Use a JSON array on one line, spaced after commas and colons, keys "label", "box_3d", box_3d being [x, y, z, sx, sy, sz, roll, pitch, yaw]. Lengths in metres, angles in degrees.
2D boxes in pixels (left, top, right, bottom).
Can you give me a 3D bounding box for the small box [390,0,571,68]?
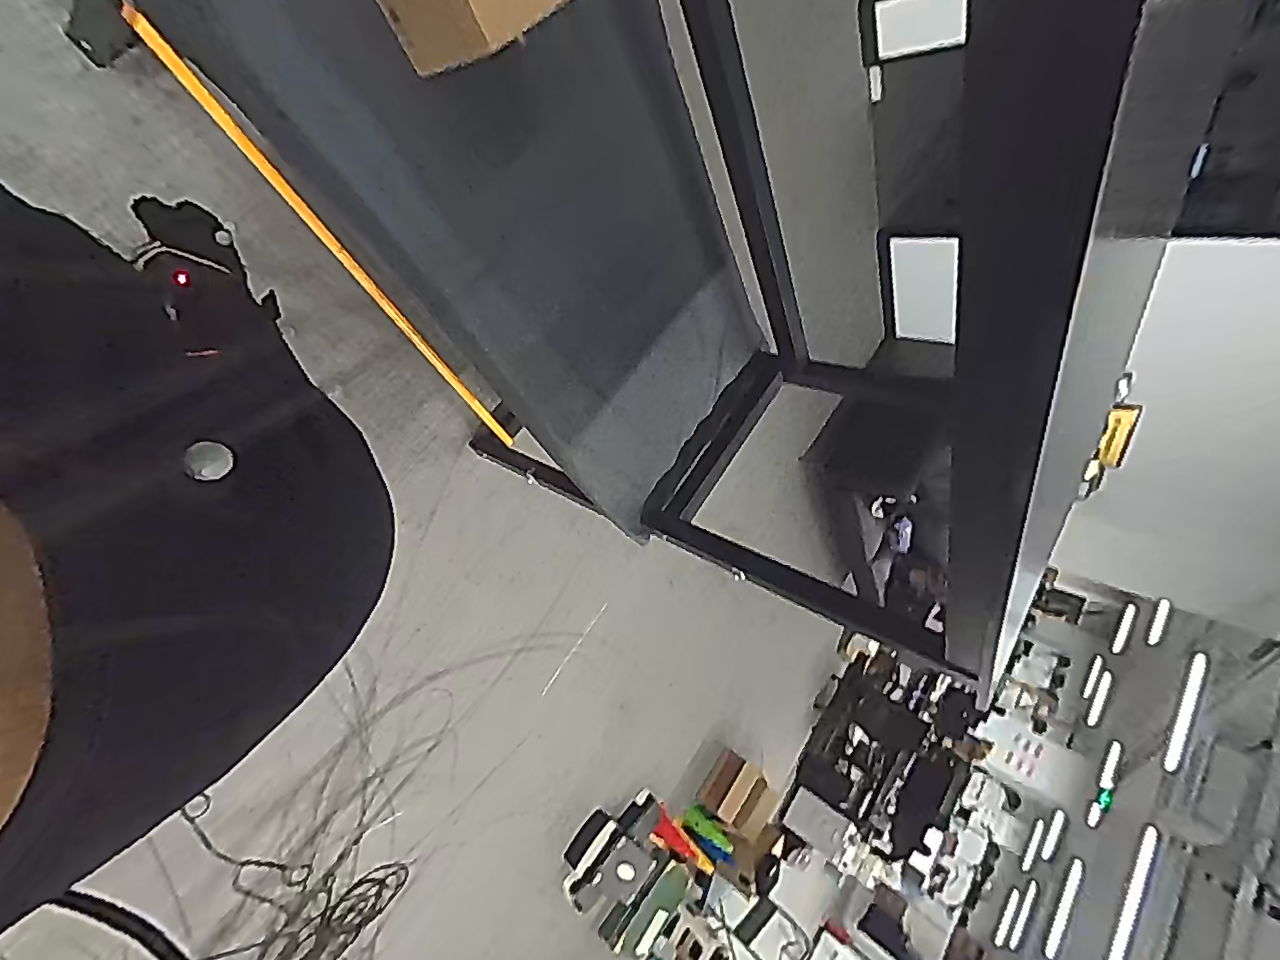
[{"label": "small box", "box_3d": [-0.186, -0.590, 0.592, 0.179, 0.176, 0.168, -51, 139, -20]}]
